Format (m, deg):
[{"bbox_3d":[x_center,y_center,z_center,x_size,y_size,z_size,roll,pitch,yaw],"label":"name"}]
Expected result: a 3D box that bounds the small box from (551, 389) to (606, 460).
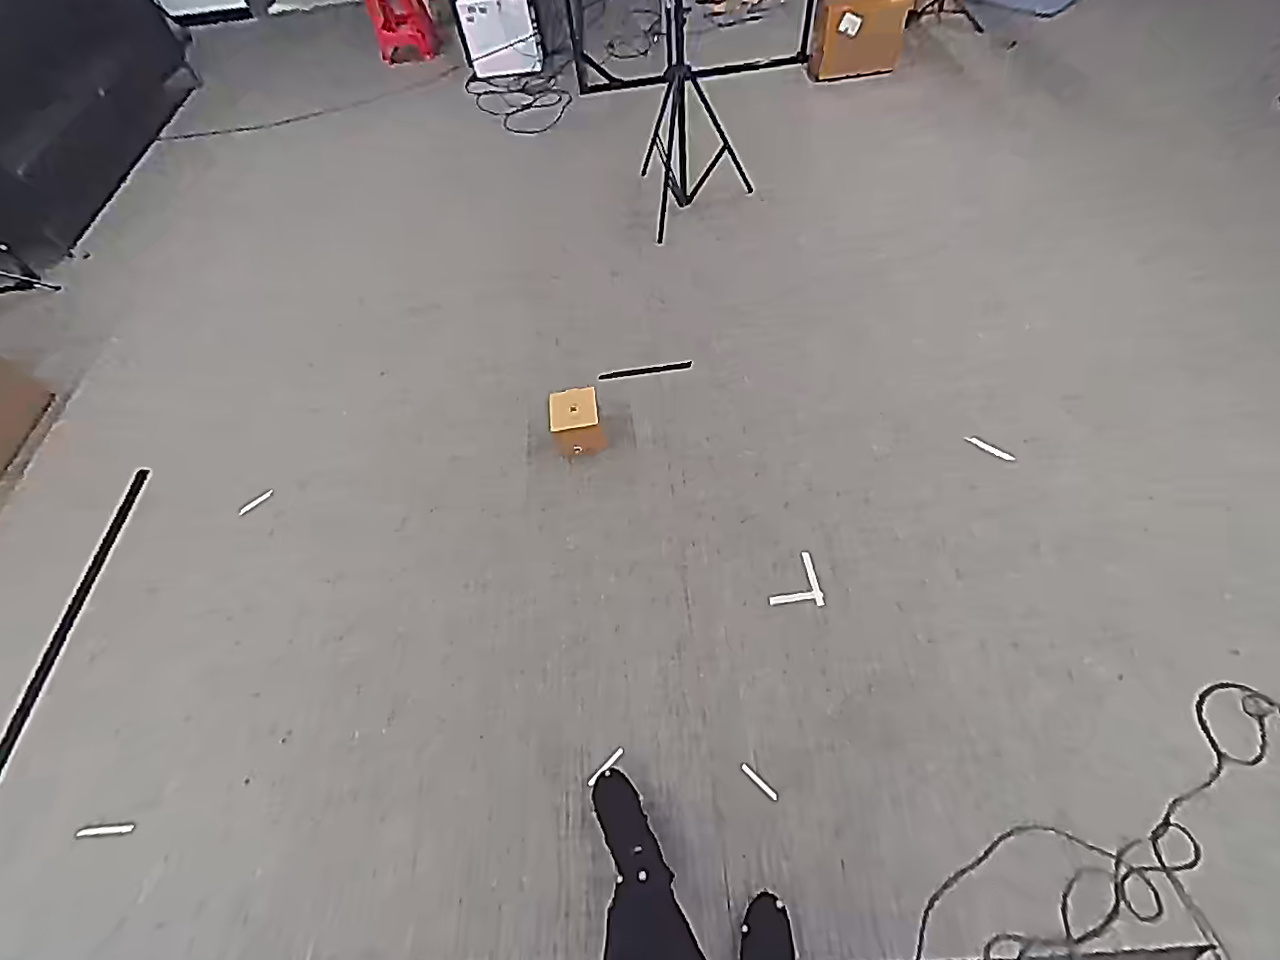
[{"bbox_3d":[-0.220,-0.197,1.942,0.168,0.176,0.179,-9,58,2],"label":"small box"}]
